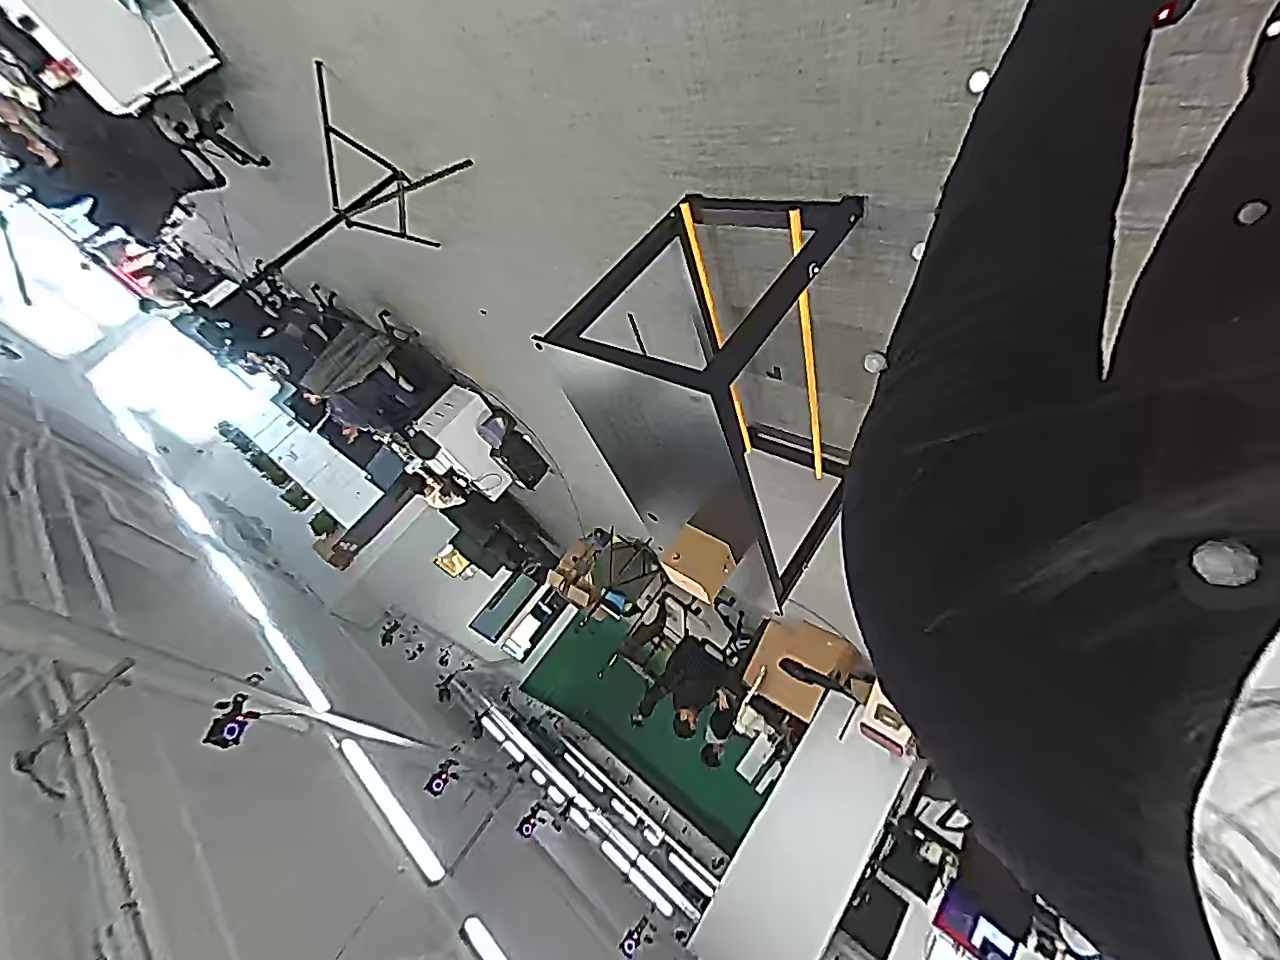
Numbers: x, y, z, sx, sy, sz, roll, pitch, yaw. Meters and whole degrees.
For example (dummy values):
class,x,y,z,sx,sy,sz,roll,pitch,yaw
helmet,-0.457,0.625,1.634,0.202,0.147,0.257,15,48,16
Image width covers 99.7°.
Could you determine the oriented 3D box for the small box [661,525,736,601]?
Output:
class,x,y,z,sx,sy,sz,roll,pitch,yaw
small box,0.204,0.278,1.853,0.179,0.176,0.168,26,158,34
